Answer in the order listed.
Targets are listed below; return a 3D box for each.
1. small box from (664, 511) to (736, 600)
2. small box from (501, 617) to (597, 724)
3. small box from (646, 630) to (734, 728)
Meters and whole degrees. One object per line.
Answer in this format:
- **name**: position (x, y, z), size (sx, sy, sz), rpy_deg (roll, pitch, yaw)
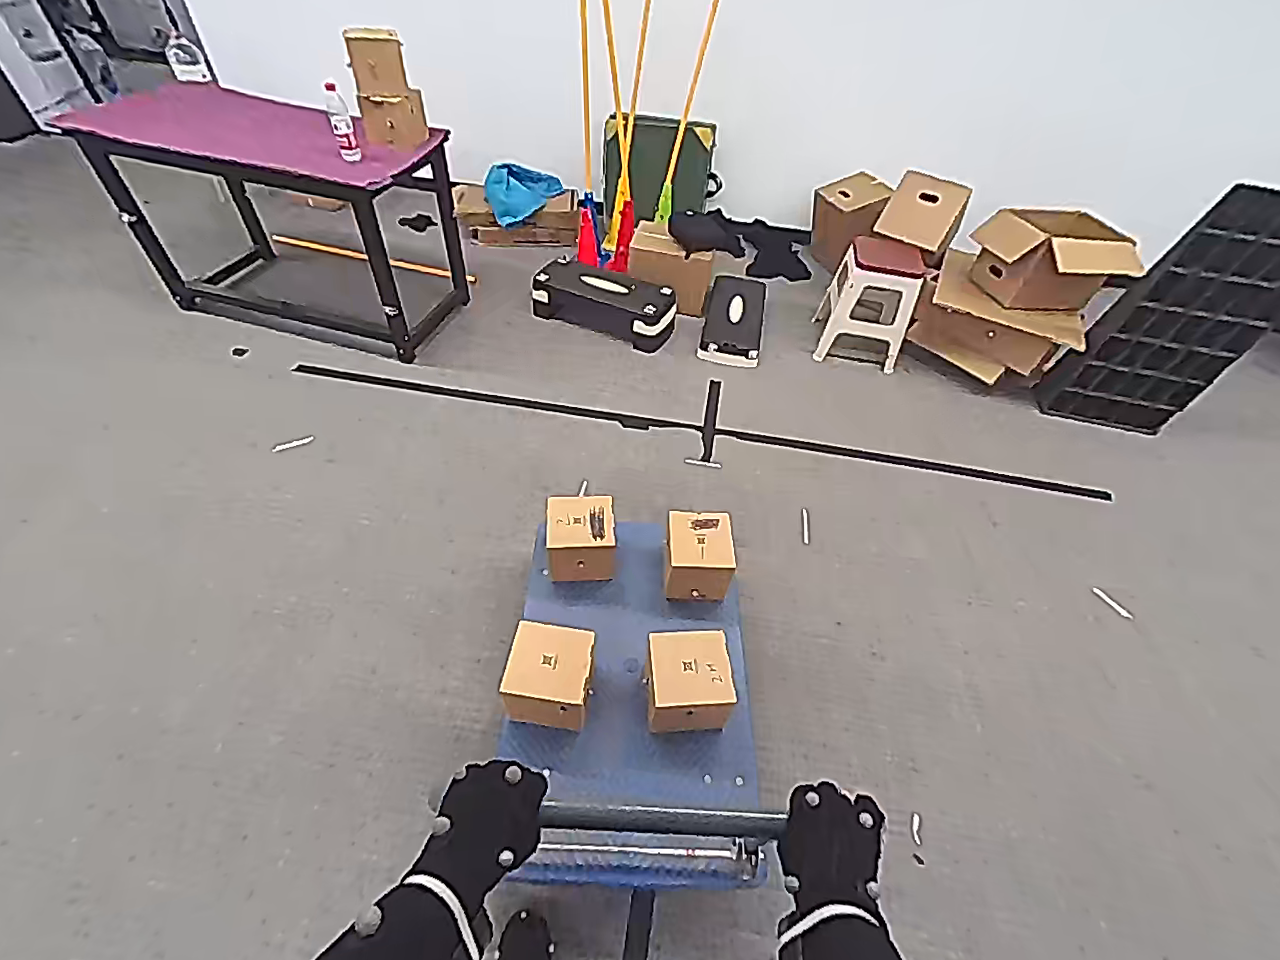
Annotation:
- **small box**: position (0.157, 0.206, 1.471), size (0.168, 0.176, 0.179), rpy_deg (3, 50, -3)
- **small box**: position (-0.201, 0.438, 1.231), size (0.179, 0.176, 0.168), rpy_deg (10, 48, 1)
- **small box**: position (0.105, 0.459, 1.242), size (0.179, 0.176, 0.168), rpy_deg (0, 49, -5)
